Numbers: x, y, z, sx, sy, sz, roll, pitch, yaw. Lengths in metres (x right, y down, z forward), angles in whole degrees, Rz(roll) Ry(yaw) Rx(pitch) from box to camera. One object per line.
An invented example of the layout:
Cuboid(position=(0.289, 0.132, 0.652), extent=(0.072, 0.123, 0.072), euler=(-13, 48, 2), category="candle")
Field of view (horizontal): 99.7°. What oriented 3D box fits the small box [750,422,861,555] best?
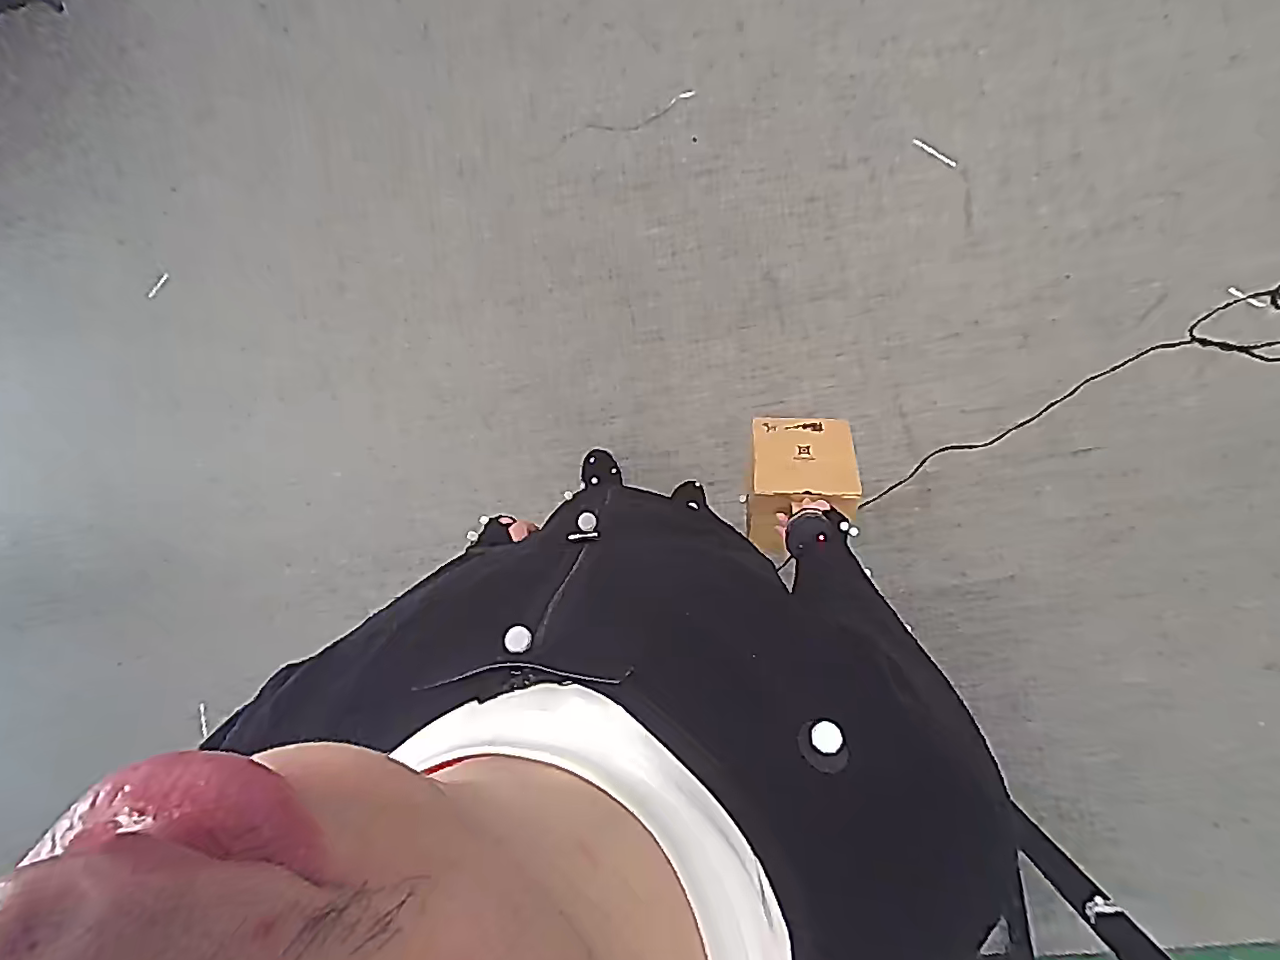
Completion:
Cuboid(position=(0.282, 0.020, 0.960), extent=(0.168, 0.176, 0.179), euler=(-2, 49, 9), category="small box")
